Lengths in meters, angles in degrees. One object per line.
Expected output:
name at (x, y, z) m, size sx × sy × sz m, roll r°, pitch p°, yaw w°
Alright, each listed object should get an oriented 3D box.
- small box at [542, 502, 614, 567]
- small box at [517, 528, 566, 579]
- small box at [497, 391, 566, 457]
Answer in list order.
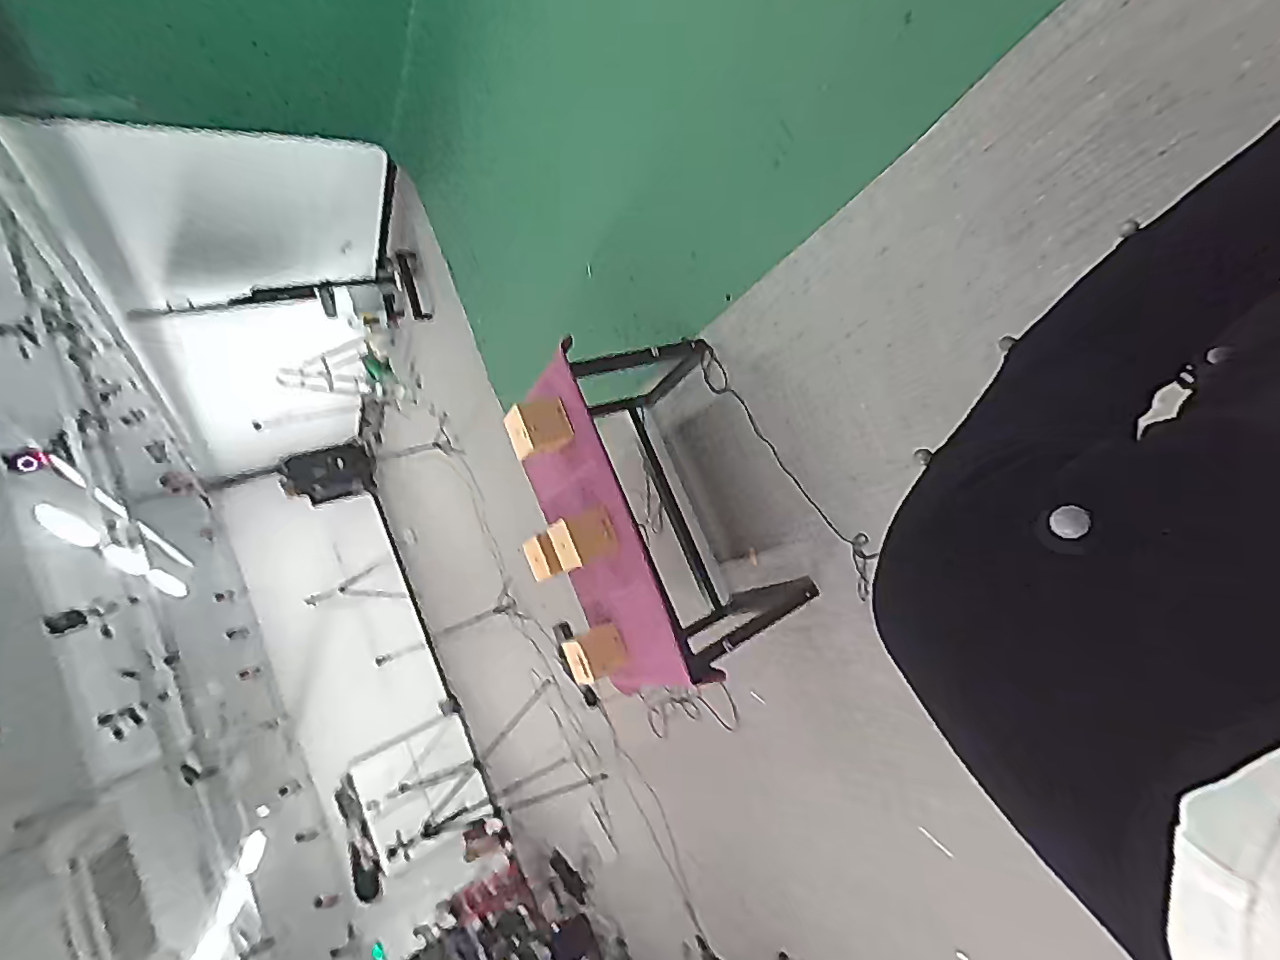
small box at (-0.218, 0.194, 1.905) m, size 0.179 × 0.176 × 0.168 m, roll -29°, pitch 83°, yaw 56°
small box at (-0.362, 0.277, 2.152) m, size 0.179 × 0.176 × 0.168 m, roll -33°, pitch 79°, yaw 54°
small box at (-0.386, -0.200, 1.936) m, size 0.179 × 0.176 × 0.168 m, roll -26°, pitch 86°, yaw 59°
